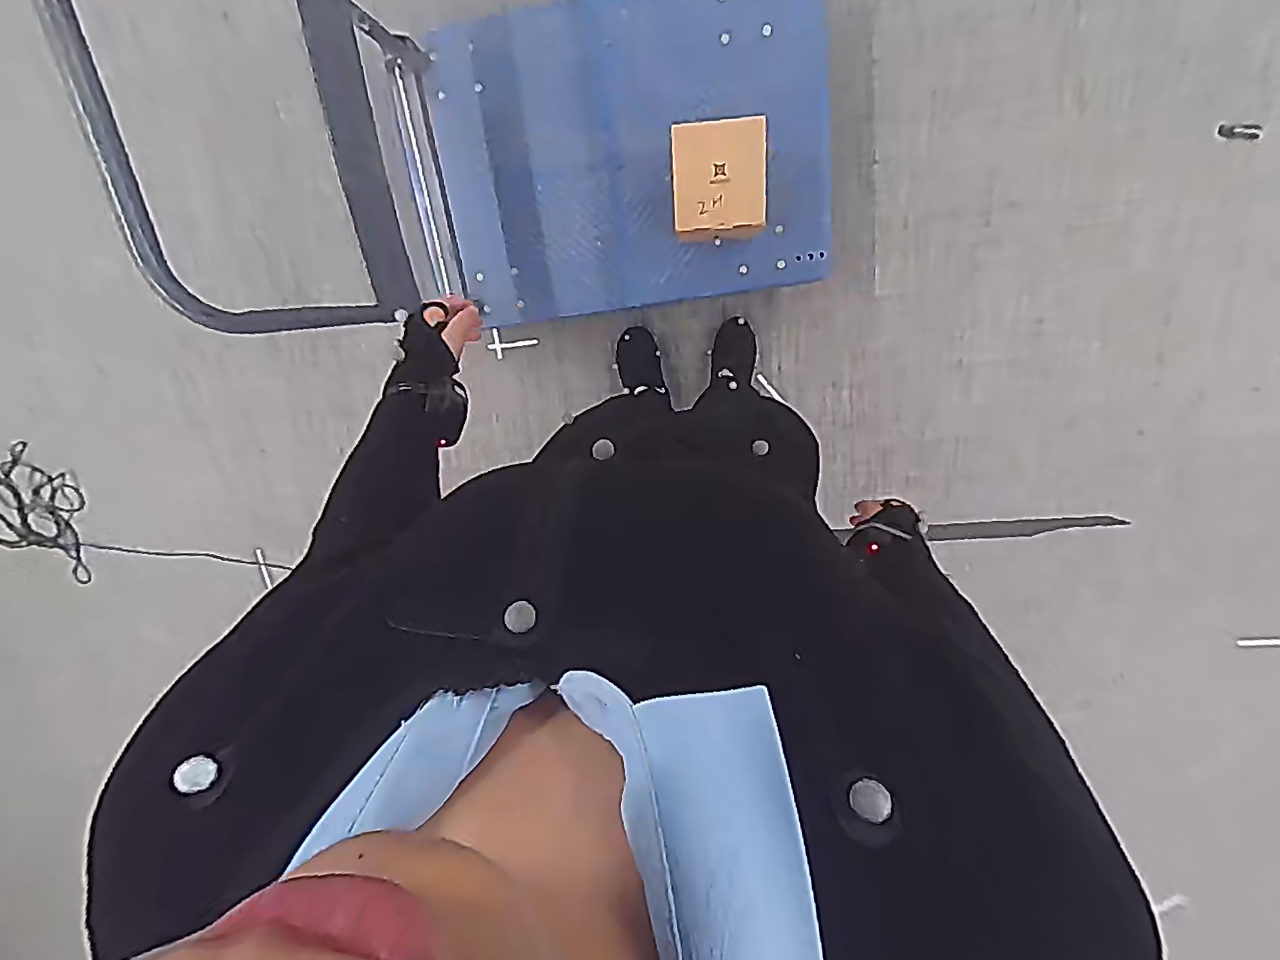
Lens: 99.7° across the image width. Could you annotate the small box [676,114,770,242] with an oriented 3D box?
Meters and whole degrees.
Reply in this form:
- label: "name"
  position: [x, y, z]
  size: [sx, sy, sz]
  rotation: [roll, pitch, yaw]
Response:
- label: "small box"
  position: [0.153, -0.567, 1.037]
  size: [0.168, 0.176, 0.179]
  rotation: [-2, 107, 6]
